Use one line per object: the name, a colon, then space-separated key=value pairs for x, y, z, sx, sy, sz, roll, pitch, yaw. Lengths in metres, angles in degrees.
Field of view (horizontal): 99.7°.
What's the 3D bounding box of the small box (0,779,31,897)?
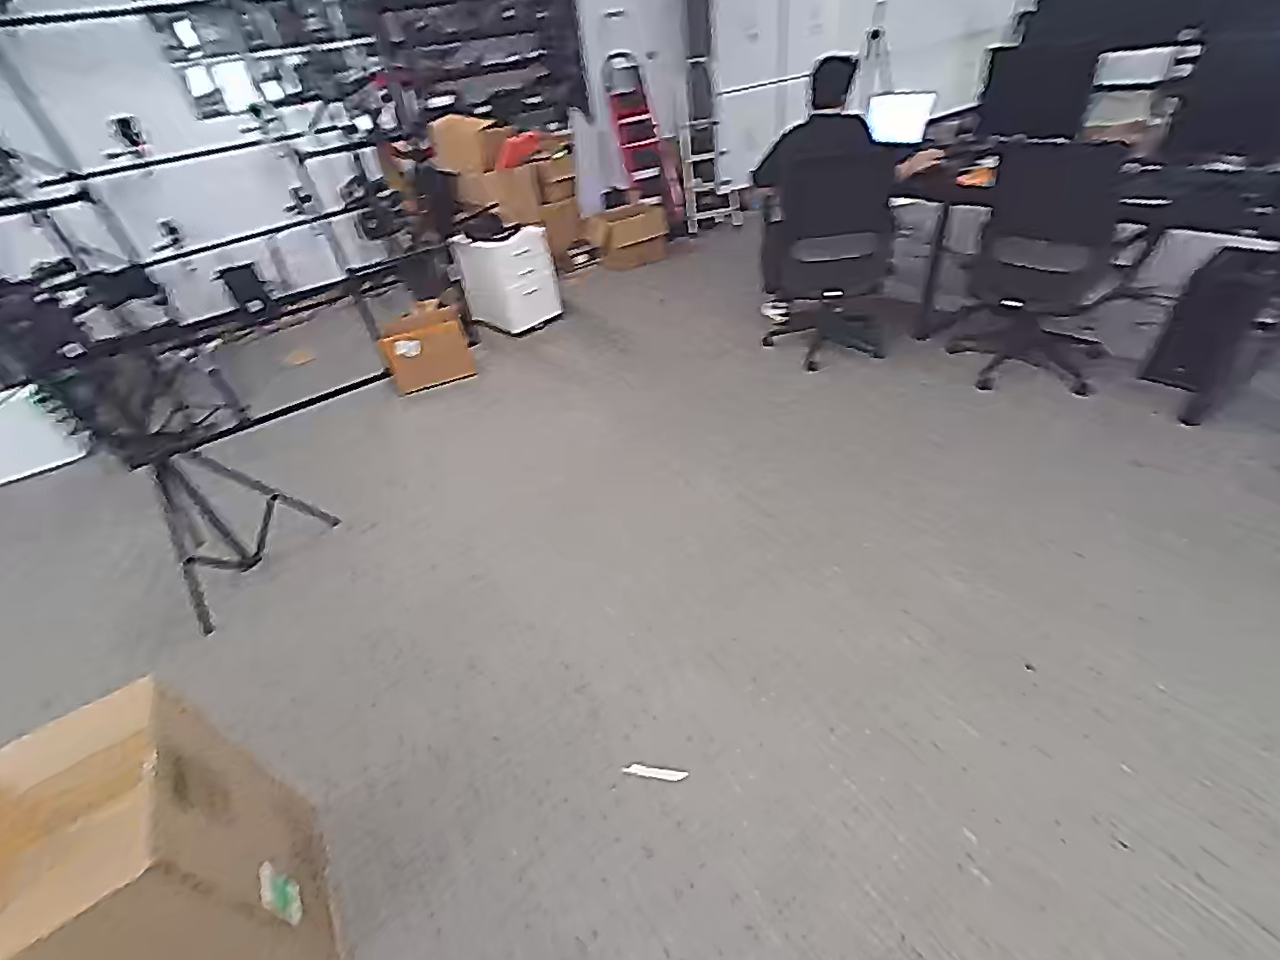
small box: x=-0.969 y=0.495 z=0.703 sx=0.168 sy=0.176 sz=0.179 roll=-27 pitch=41 yaw=-21
